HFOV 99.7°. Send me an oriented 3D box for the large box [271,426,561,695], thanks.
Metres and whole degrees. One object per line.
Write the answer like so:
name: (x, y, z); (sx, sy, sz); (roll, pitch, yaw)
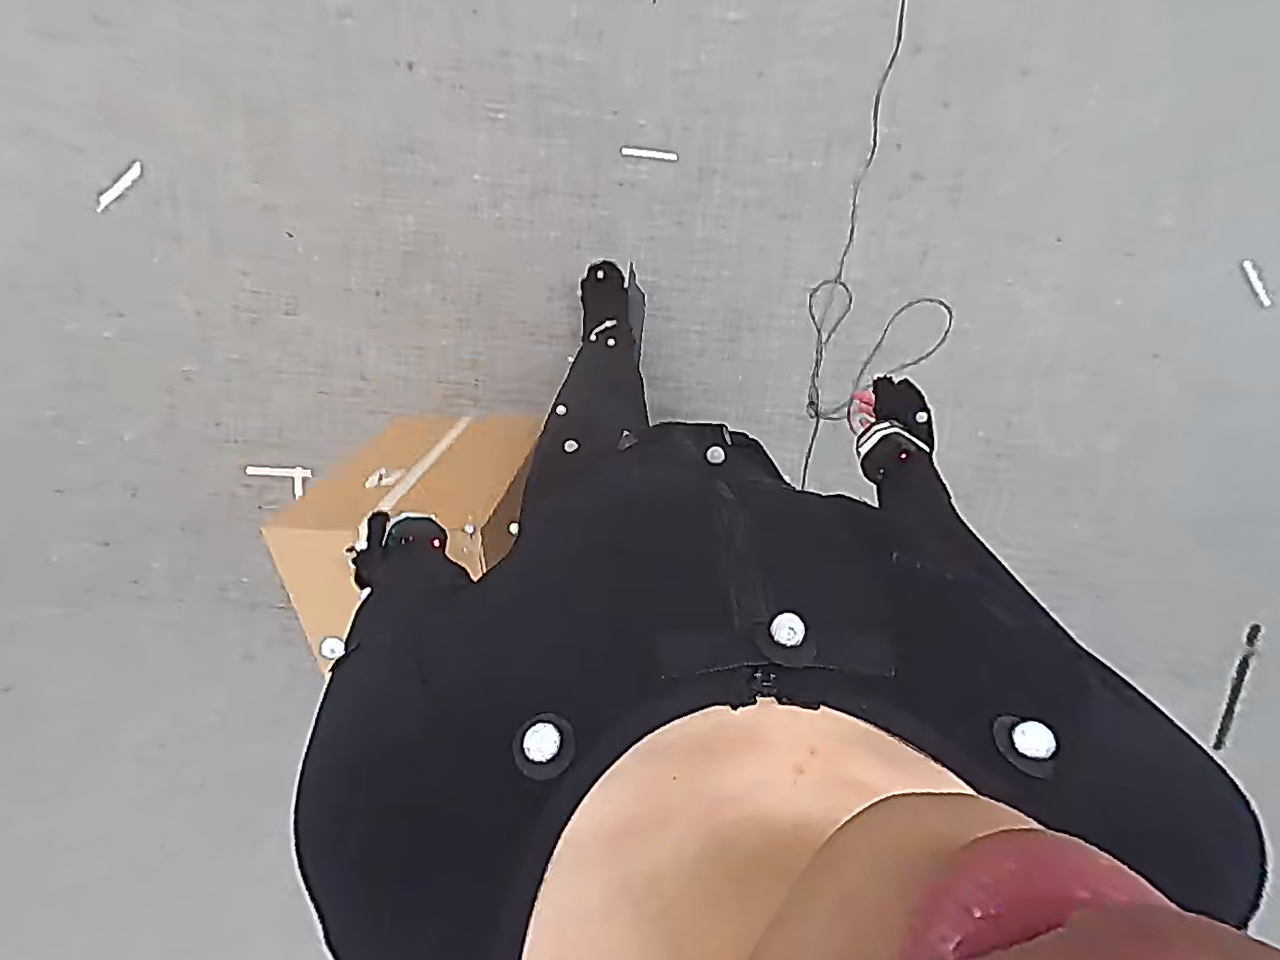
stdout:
large box: (-0.342, 0.120, 0.976); (0.320, 0.408, 0.320); (-1, 117, 6)
